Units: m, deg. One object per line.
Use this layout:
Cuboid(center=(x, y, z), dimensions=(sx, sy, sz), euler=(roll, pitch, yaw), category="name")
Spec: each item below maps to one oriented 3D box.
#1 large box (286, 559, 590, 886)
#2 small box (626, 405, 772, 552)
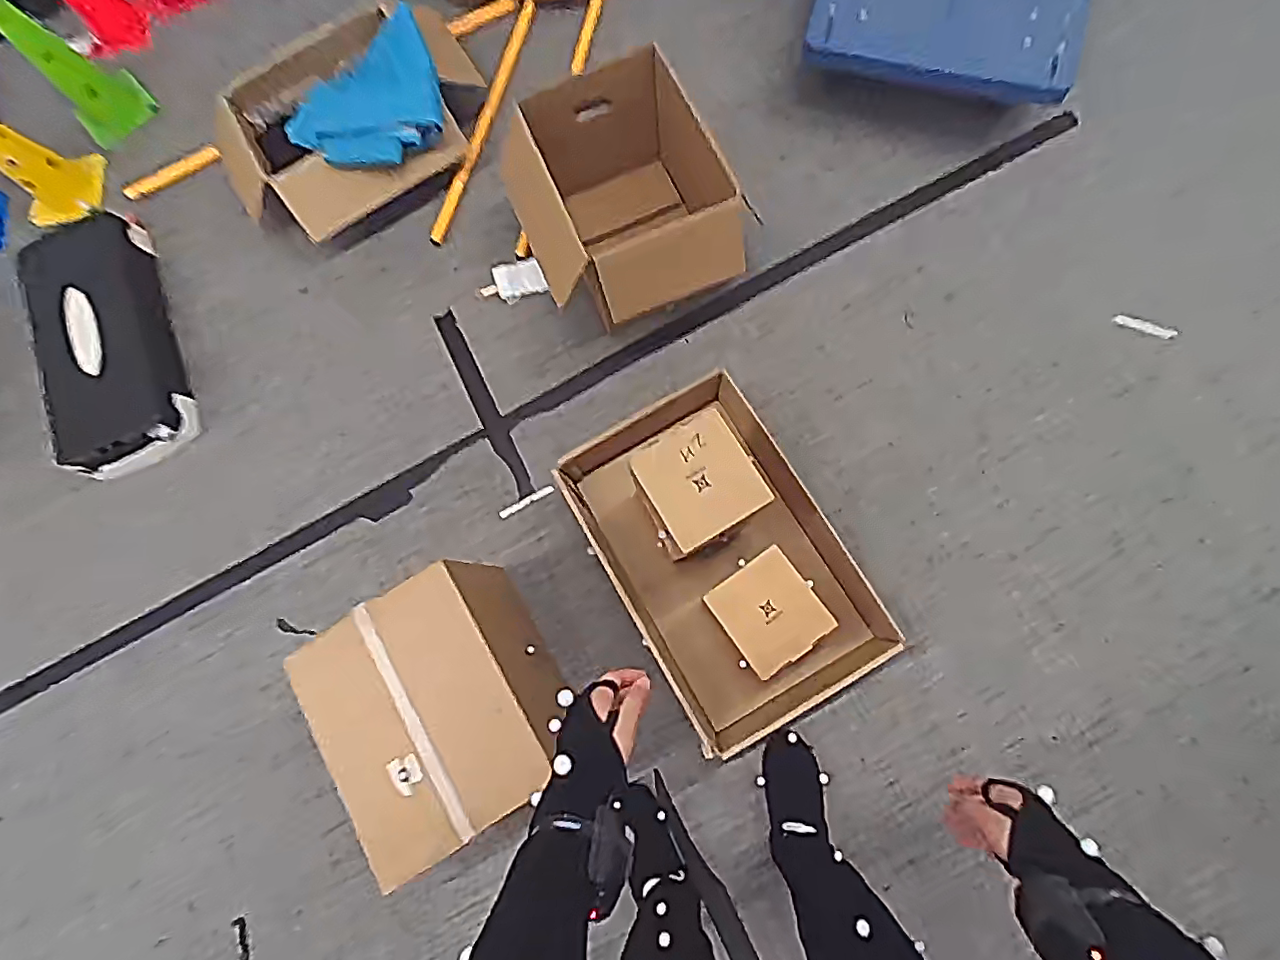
Cuboid(center=(-0.343, 0.400, 1.005), dimensions=(0.320, 0.320, 0.408), euler=(-33, 79, -2), category="large box")
Cuboid(center=(0.094, 0.007, 0.902), dimensions=(0.168, 0.176, 0.179), euler=(-31, 79, -3), category="small box")
